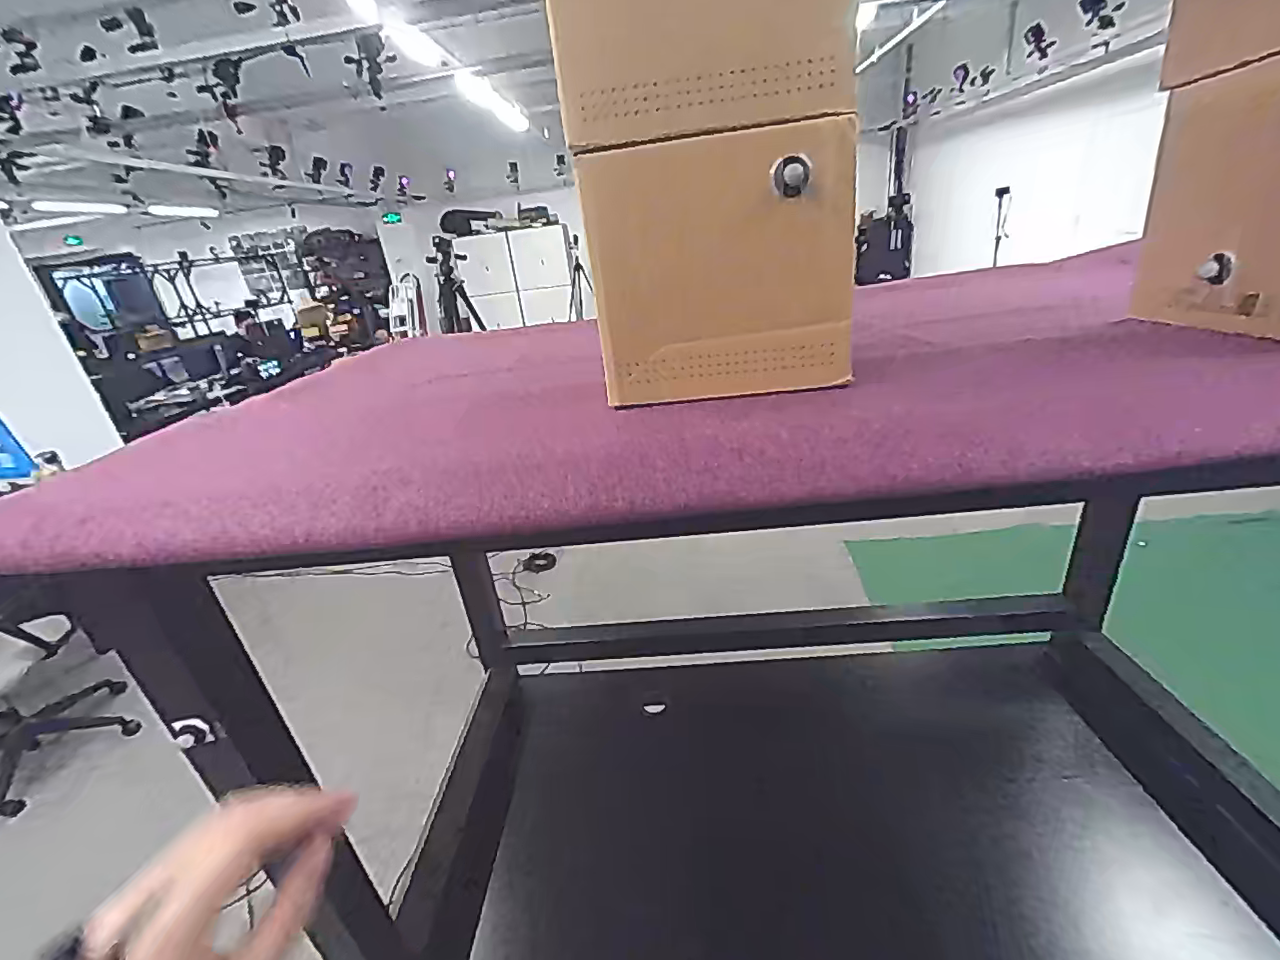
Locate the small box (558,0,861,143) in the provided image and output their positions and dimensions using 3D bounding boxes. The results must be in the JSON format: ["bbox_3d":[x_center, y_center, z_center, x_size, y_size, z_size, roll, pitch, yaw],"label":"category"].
[{"bbox_3d":[0.041,-0.317,0.363,0.179,0.176,0.168,-3,24,6],"label":"small box"}]

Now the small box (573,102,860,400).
[{"bbox_3d":[0.060,-0.166,0.424,0.179,0.176,0.168,-4,24,6],"label":"small box"}]

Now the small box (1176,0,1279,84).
[{"bbox_3d":[0.452,-0.341,0.282,0.168,0.176,0.179,-6,23,7],"label":"small box"}]
